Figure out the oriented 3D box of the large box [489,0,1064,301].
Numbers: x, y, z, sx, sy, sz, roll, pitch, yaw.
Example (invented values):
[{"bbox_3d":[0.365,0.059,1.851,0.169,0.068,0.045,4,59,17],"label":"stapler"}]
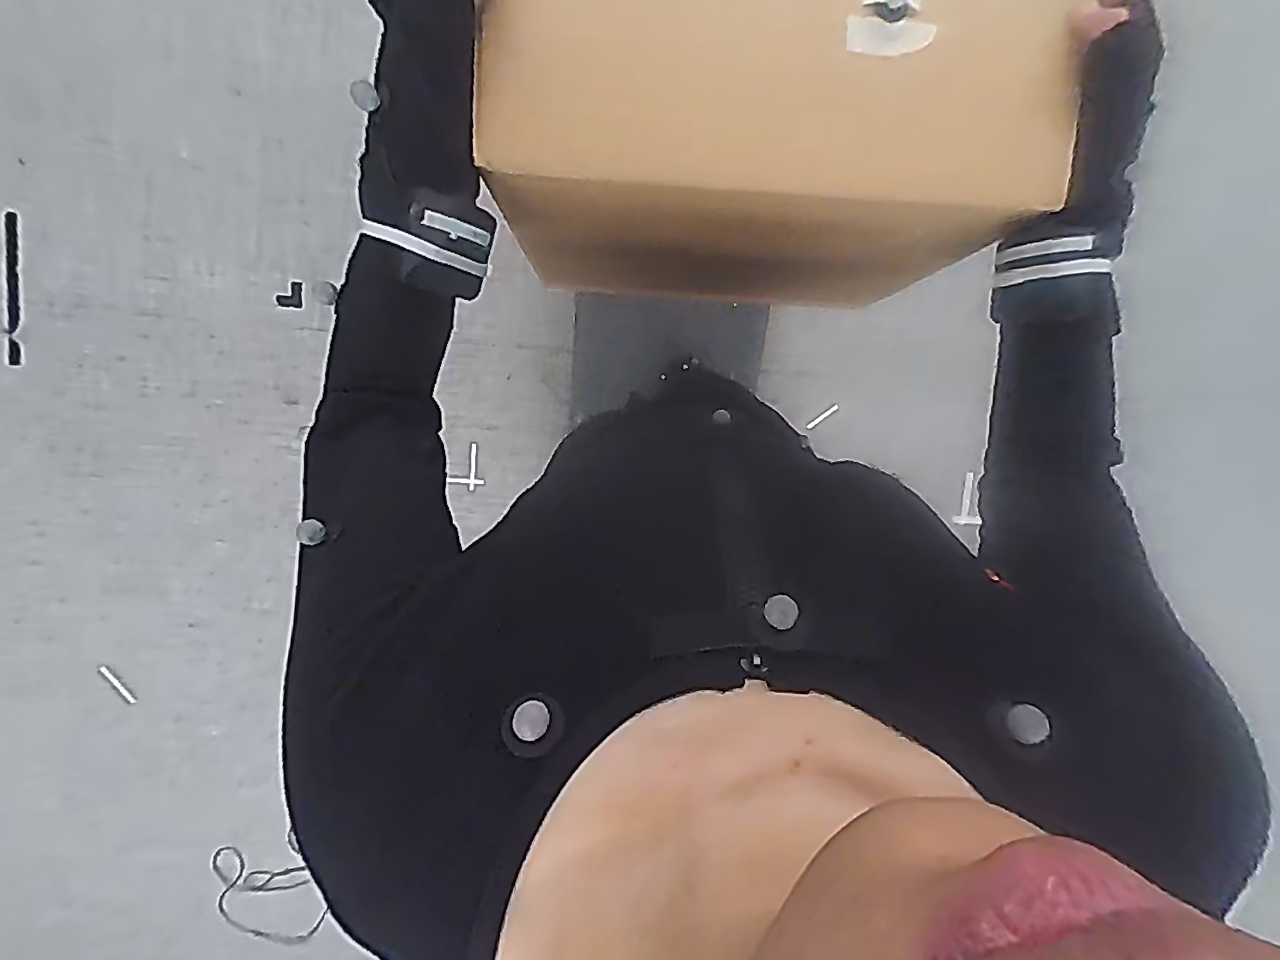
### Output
[{"bbox_3d":[0.091,-0.371,0.517,0.408,0.320,0.320,3,95,-3],"label":"large box"}]
